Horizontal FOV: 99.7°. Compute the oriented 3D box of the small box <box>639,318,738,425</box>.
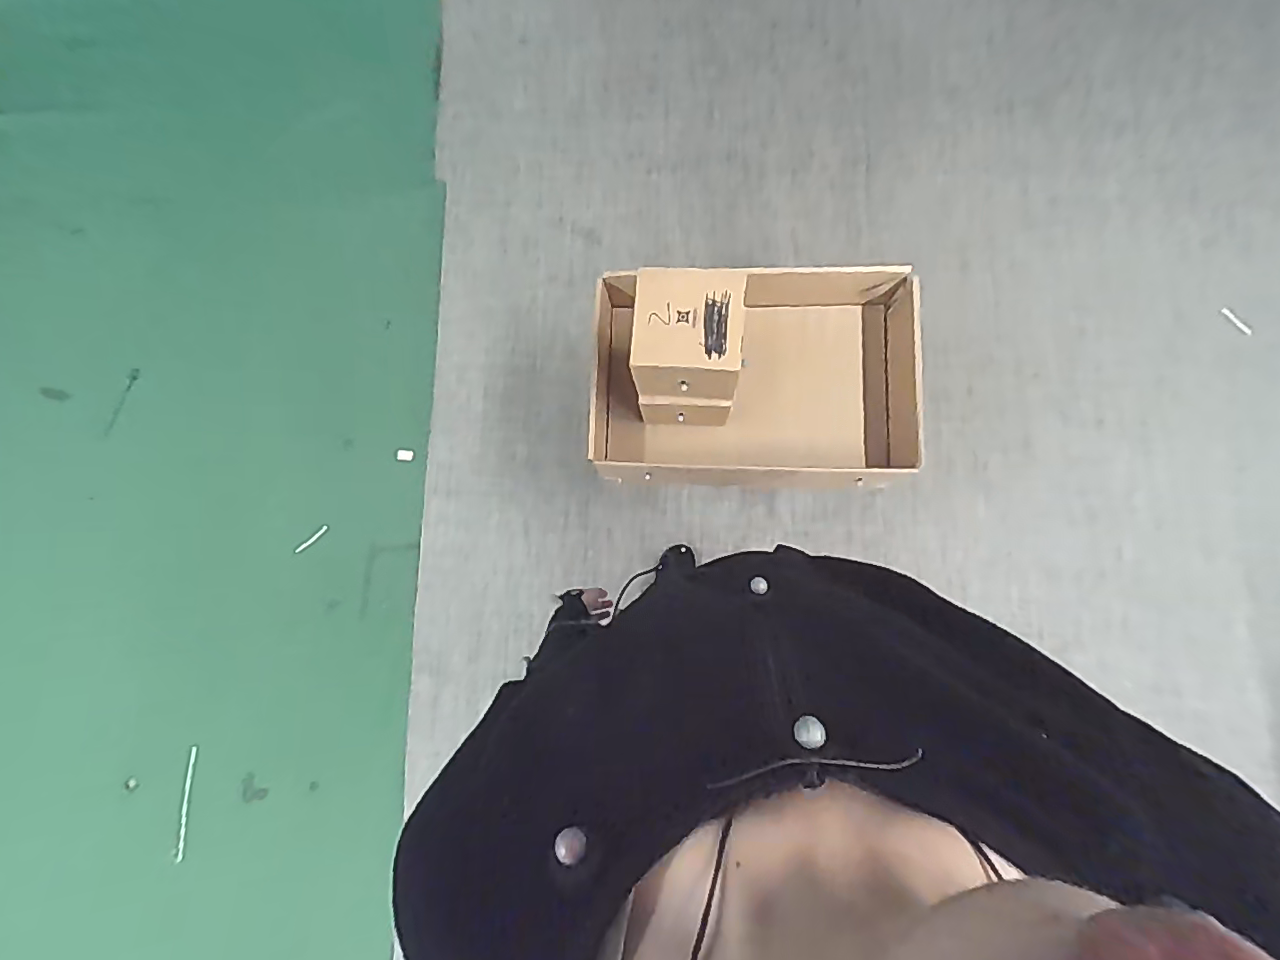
[{"bbox_3d":[0.096,-0.209,1.075,0.179,0.176,0.168,3,82,5],"label":"small box"}]
